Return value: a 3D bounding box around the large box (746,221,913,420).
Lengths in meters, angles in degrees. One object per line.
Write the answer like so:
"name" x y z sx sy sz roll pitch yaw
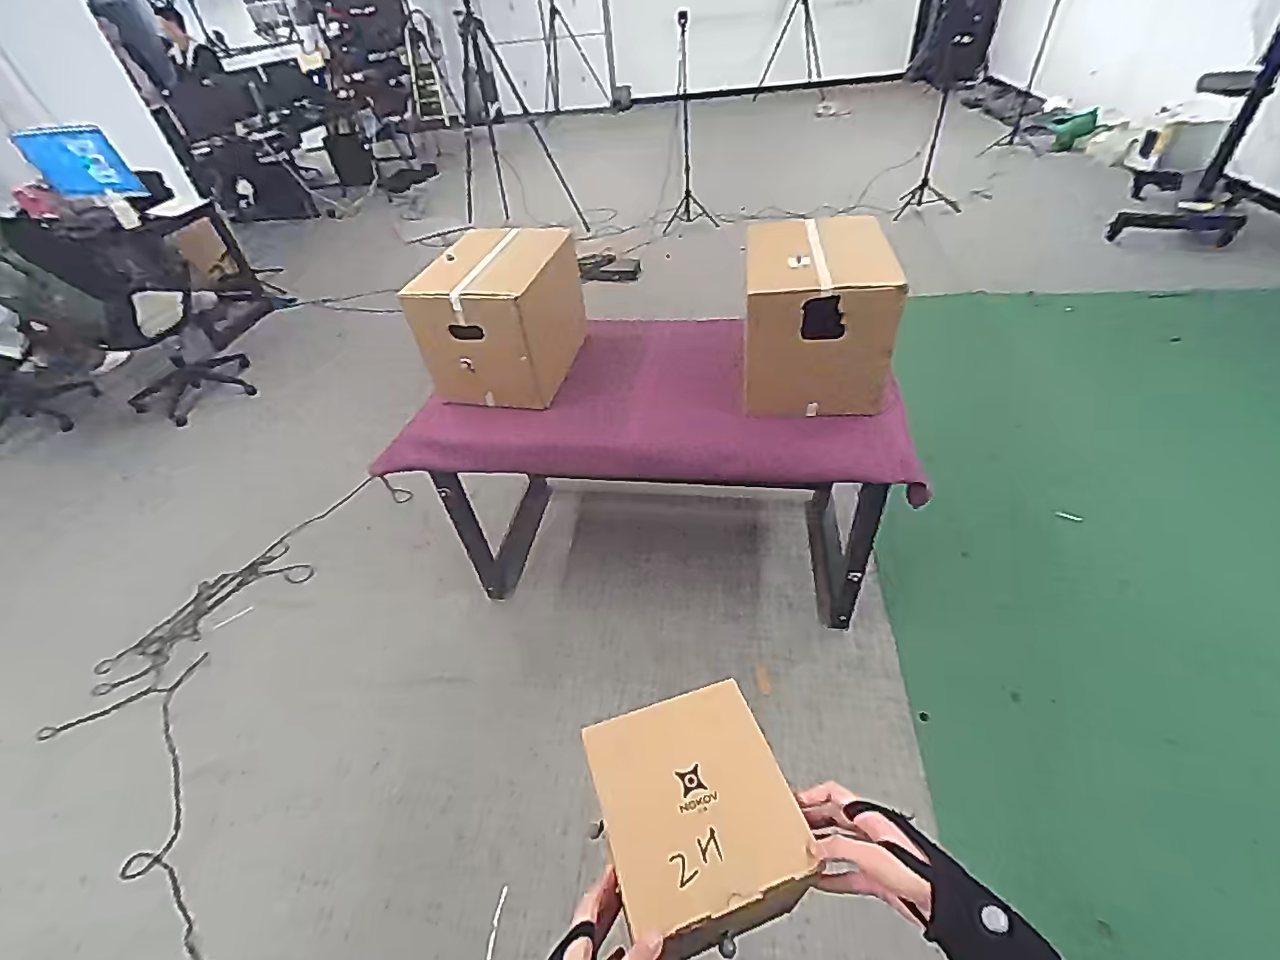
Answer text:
"large box" 0.420 -0.389 1.311 0.320 0.320 0.408 0 44 11

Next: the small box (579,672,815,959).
"small box" 0.042 0.329 0.535 0.168 0.176 0.179 -13 42 -13
